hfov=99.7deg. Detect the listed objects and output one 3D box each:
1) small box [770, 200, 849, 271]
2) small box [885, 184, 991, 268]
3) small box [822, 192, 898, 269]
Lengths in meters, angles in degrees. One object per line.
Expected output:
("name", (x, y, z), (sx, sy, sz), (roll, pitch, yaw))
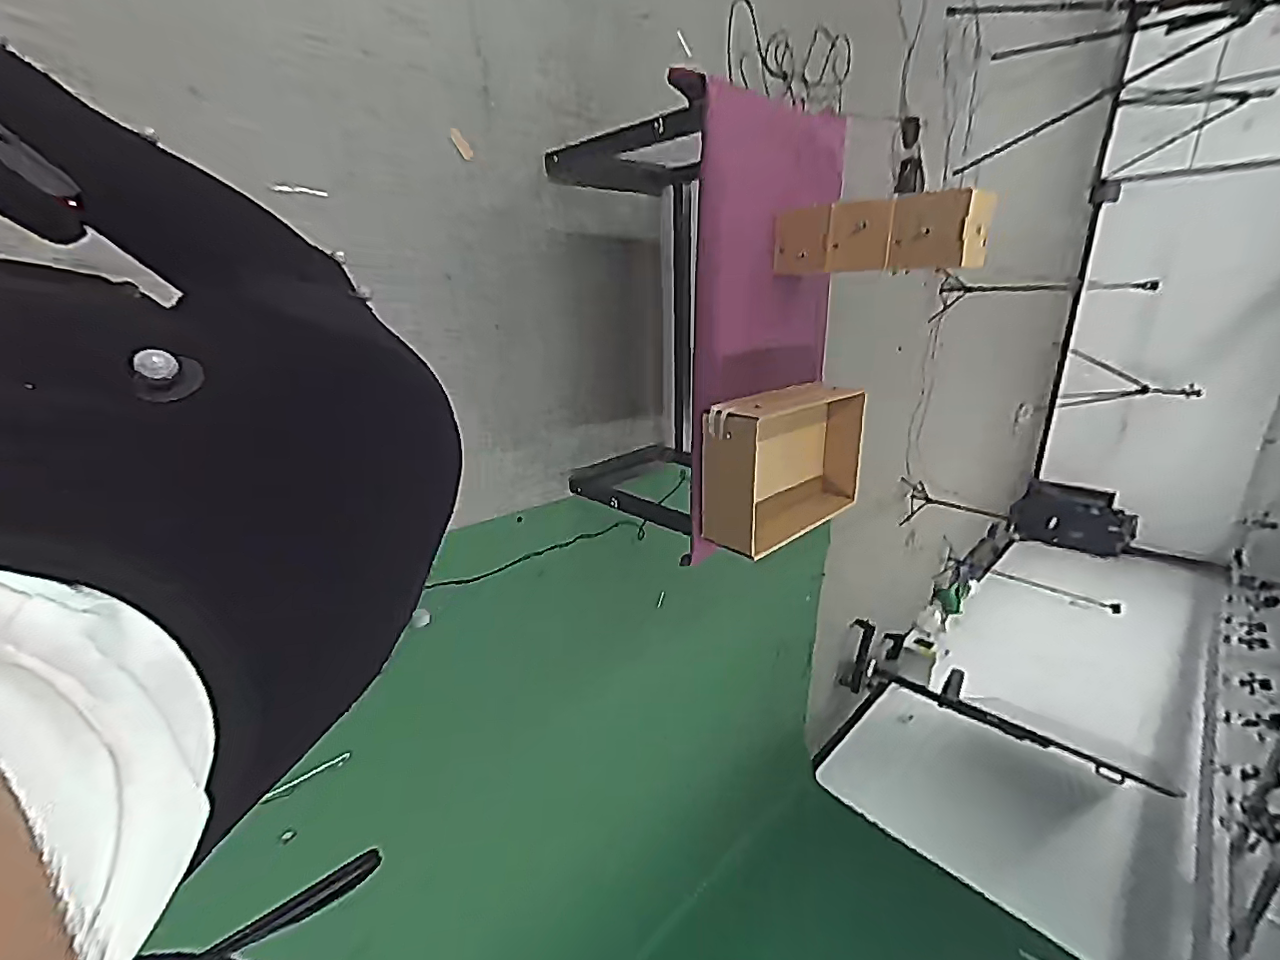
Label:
("small box", (0.487, -0.682, 1.527), (0.179, 0.176, 0.168), (-18, 117, -41))
("small box", (0.715, -0.605, 1.307), (0.179, 0.176, 0.168), (-19, 117, -40))
("small box", (0.596, -0.644, 1.415), (0.179, 0.176, 0.168), (-19, 117, -41))
